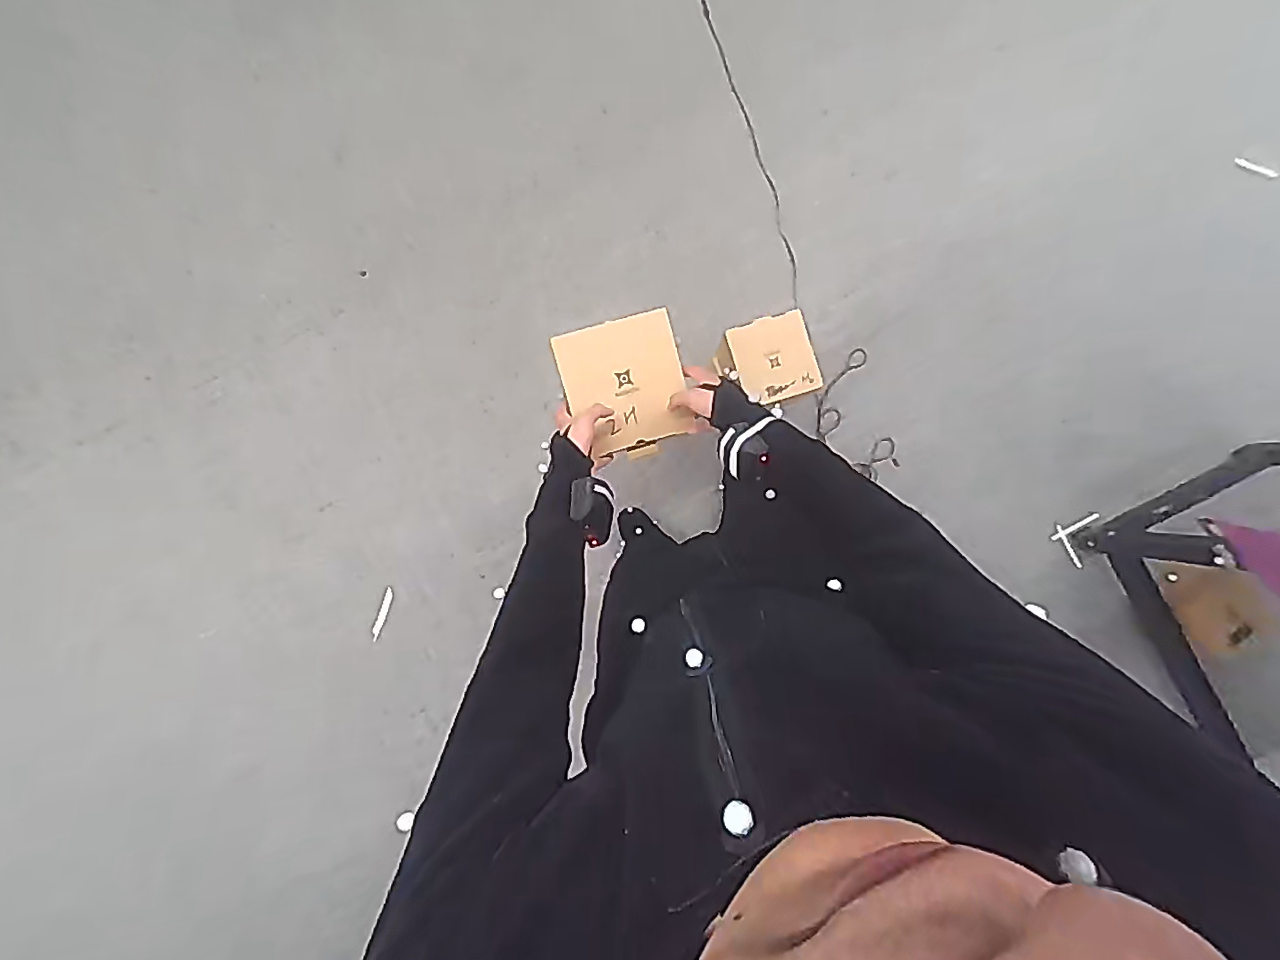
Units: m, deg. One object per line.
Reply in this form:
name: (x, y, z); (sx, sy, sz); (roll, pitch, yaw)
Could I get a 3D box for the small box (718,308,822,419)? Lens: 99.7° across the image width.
small box: (0.280, -0.252, 1.206); (0.168, 0.176, 0.179); (-17, 87, 1)

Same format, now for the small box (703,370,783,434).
small box: (0.290, -0.245, 1.532); (0.168, 0.176, 0.179); (-26, 88, 1)

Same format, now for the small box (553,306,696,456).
small box: (-0.028, -0.144, 0.821); (0.168, 0.176, 0.179); (-16, 99, -3)

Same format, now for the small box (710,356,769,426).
small box: (0.286, -0.249, 1.370); (0.179, 0.176, 0.168); (-24, 88, 1)
